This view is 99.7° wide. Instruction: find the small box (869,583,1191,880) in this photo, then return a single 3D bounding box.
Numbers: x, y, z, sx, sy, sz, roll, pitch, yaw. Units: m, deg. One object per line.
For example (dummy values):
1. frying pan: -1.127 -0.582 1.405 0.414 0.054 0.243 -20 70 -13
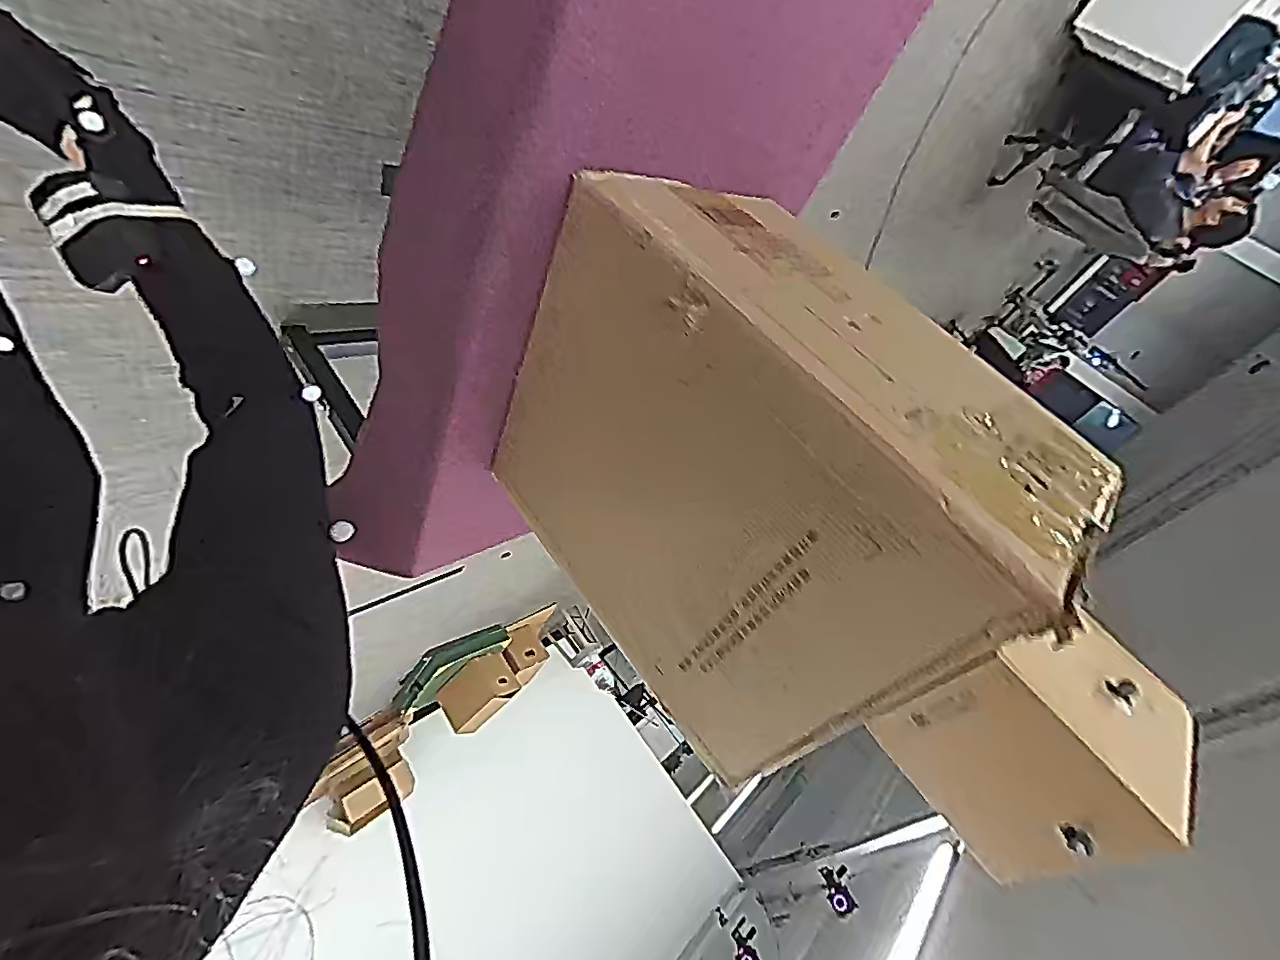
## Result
1. small box: 0.362 0.227 0.518 0.179 0.176 0.168 -22 153 -42
